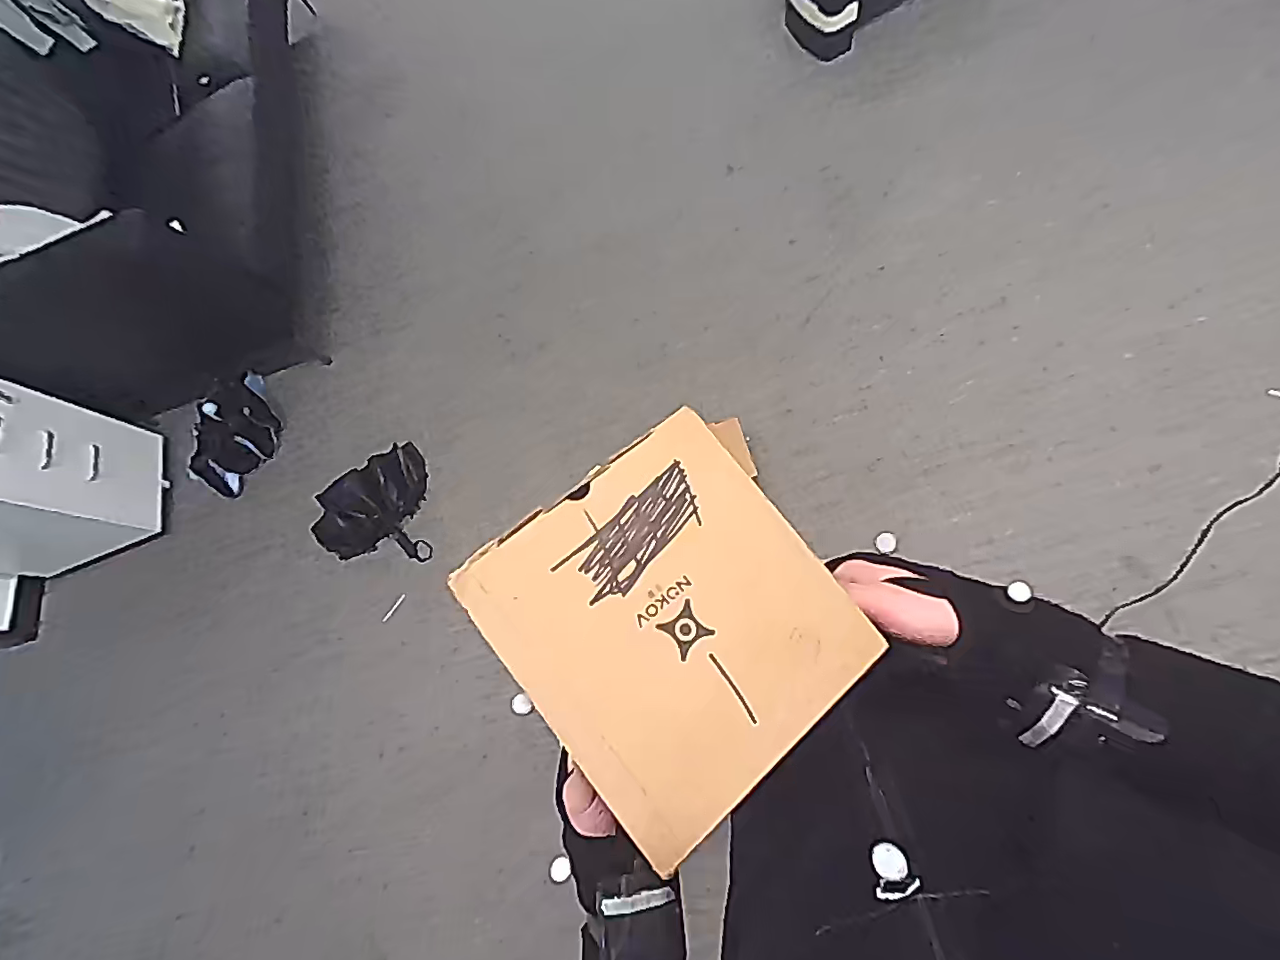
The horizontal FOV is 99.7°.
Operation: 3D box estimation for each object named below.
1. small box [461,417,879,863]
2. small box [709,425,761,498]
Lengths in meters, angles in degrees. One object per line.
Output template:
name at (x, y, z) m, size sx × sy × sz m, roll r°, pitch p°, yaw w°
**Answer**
small box at (0.007, 0.095, 0.364) m, size 0.168 × 0.176 × 0.179 m, roll -36°, pitch 82°, yaw -17°
small box at (0.224, -0.020, 1.478) m, size 0.168 × 0.176 × 0.179 m, roll -20°, pitch 70°, yaw 9°
